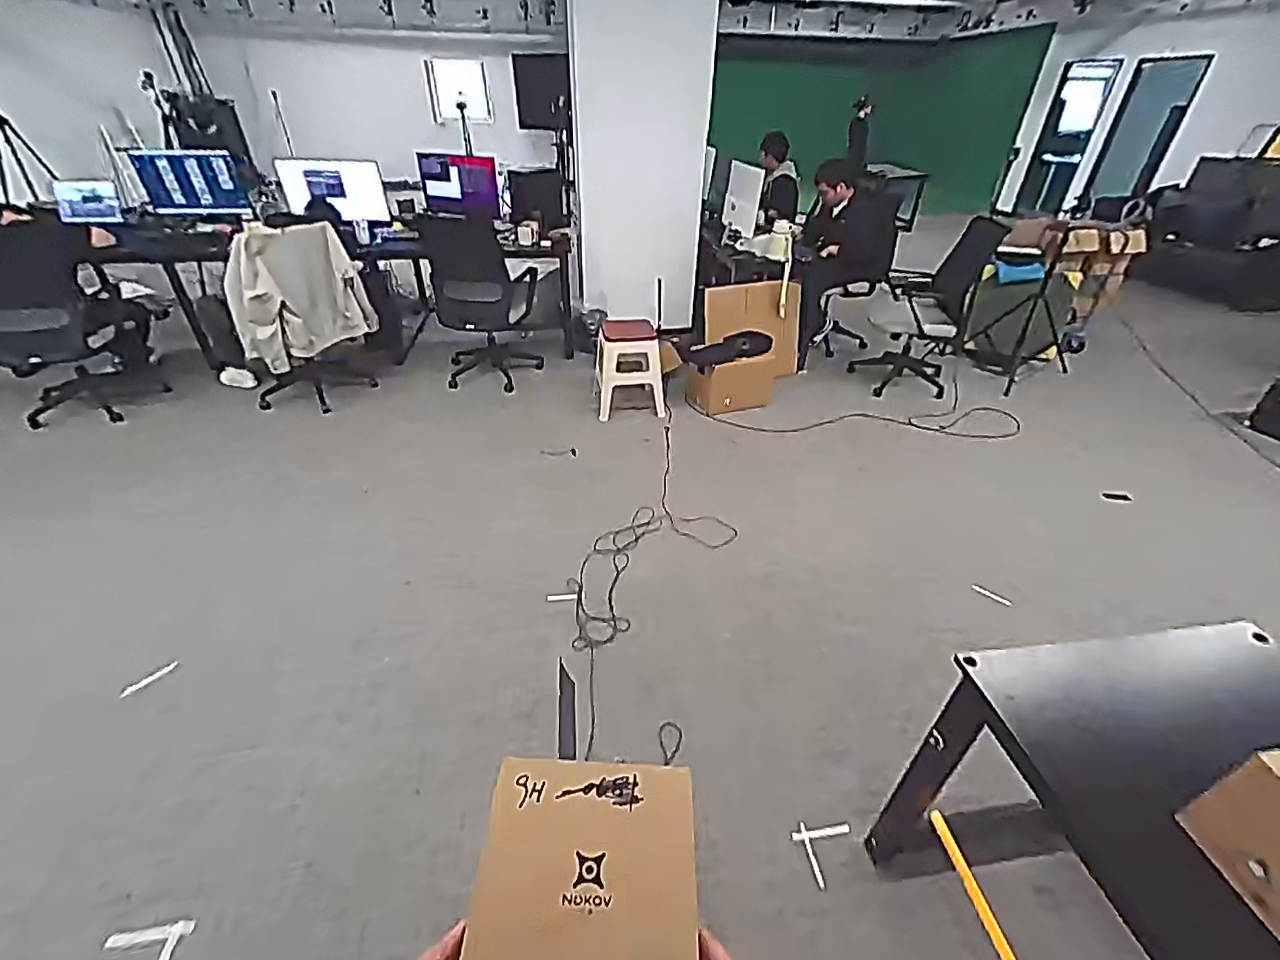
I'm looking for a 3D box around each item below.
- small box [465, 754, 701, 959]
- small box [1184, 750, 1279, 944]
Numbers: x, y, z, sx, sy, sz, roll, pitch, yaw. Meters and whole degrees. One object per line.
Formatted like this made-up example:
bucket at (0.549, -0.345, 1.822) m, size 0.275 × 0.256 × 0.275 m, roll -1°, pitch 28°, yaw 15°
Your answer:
small box at (-0.041, 0.359, 0.459) m, size 0.168 × 0.176 × 0.179 m, roll 4°, pitch 42°, yaw -2°
small box at (0.829, 0.437, 0.639) m, size 0.179 × 0.176 × 0.168 m, roll -3°, pitch 35°, yaw -6°
